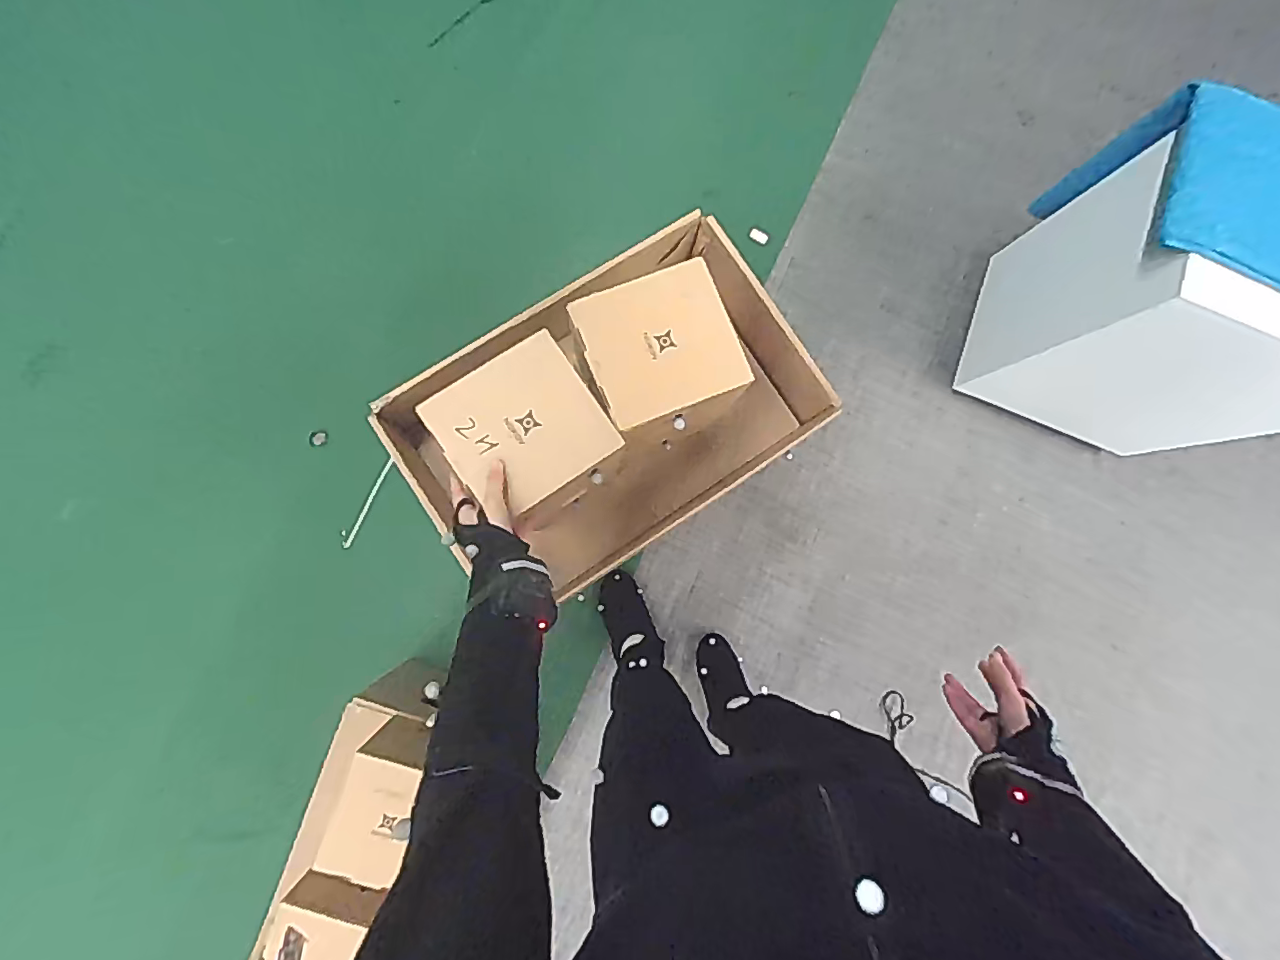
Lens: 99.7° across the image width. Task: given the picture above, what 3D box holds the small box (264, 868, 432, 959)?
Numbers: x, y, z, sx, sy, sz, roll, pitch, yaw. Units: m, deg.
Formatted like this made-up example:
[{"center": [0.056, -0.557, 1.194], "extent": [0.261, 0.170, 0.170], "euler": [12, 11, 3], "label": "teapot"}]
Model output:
[{"center": [-0.460, 0.720, 0.854], "extent": [0.179, 0.176, 0.168], "euler": [19, 83, -2], "label": "small box"}]

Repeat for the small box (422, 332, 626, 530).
[{"center": [-0.138, -0.050, 0.688], "extent": [0.179, 0.176, 0.168], "euler": [-34, 86, -8], "label": "small box"}]

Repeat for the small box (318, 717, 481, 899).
[{"center": [-0.376, 0.521, 0.883], "extent": [0.168, 0.176, 0.179], "euler": [19, 82, -3], "label": "small box"}]
